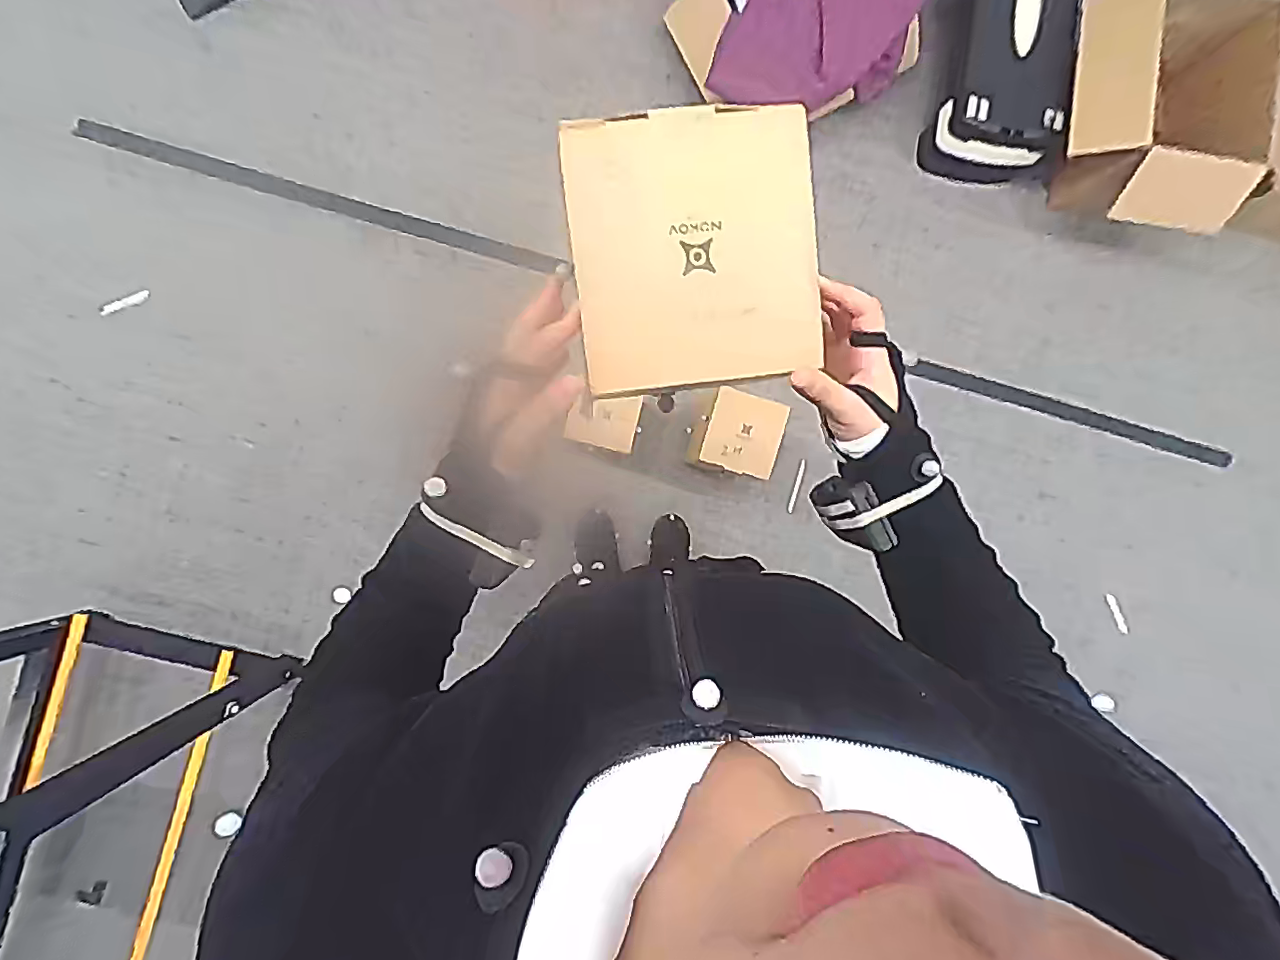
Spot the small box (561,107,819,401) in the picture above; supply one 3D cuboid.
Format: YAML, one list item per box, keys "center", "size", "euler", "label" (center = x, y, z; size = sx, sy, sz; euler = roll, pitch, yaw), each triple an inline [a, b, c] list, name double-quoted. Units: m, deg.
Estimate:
- center: [0.028, -0.162, 0.440]
  size: [0.168, 0.176, 0.179]
  euler: [-7, 97, -4]
  label: "small box"

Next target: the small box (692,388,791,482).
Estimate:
- center: [0.230, -0.101, 1.272]
  size: [0.168, 0.176, 0.179]
  euler: [17, 89, -2]
  label: "small box"

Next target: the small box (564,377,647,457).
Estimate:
- center: [-0.089, -0.158, 1.423]
  size: [0.179, 0.176, 0.168]
  euler: [14, 89, -3]
  label: "small box"

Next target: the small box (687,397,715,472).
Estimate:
- center: [0.228, -0.106, 1.438]
  size: [0.168, 0.176, 0.179]
  euler: [16, 90, -2]
  label: "small box"
